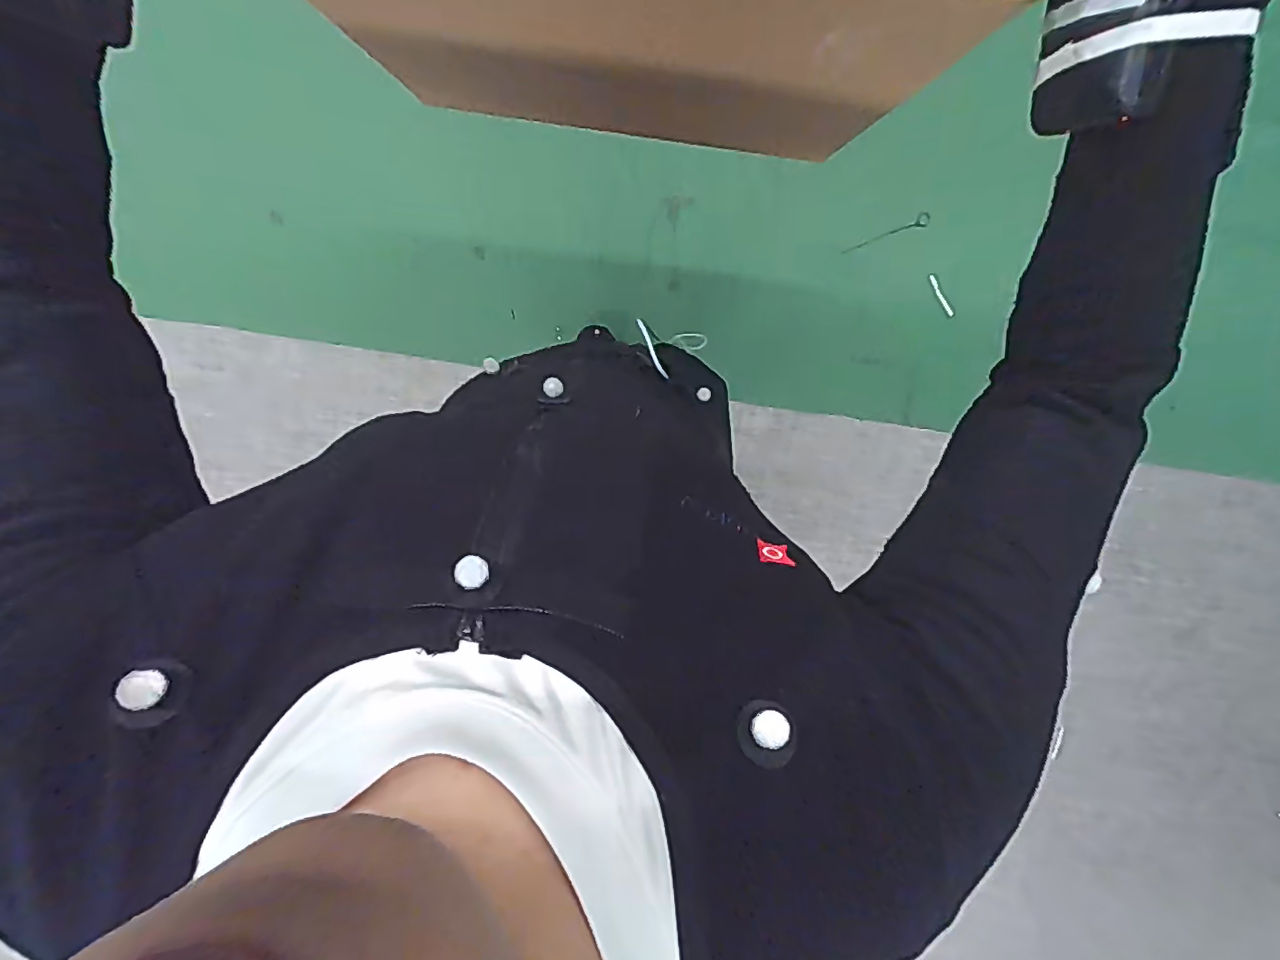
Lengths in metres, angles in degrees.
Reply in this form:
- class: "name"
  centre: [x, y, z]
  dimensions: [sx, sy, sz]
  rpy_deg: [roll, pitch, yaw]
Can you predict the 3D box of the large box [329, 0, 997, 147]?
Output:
- class: "large box"
  centre: [0.006, -0.446, 0.350]
  dimensions: [0.408, 0.320, 0.320]
  rpy_deg: [6, 109, -2]
